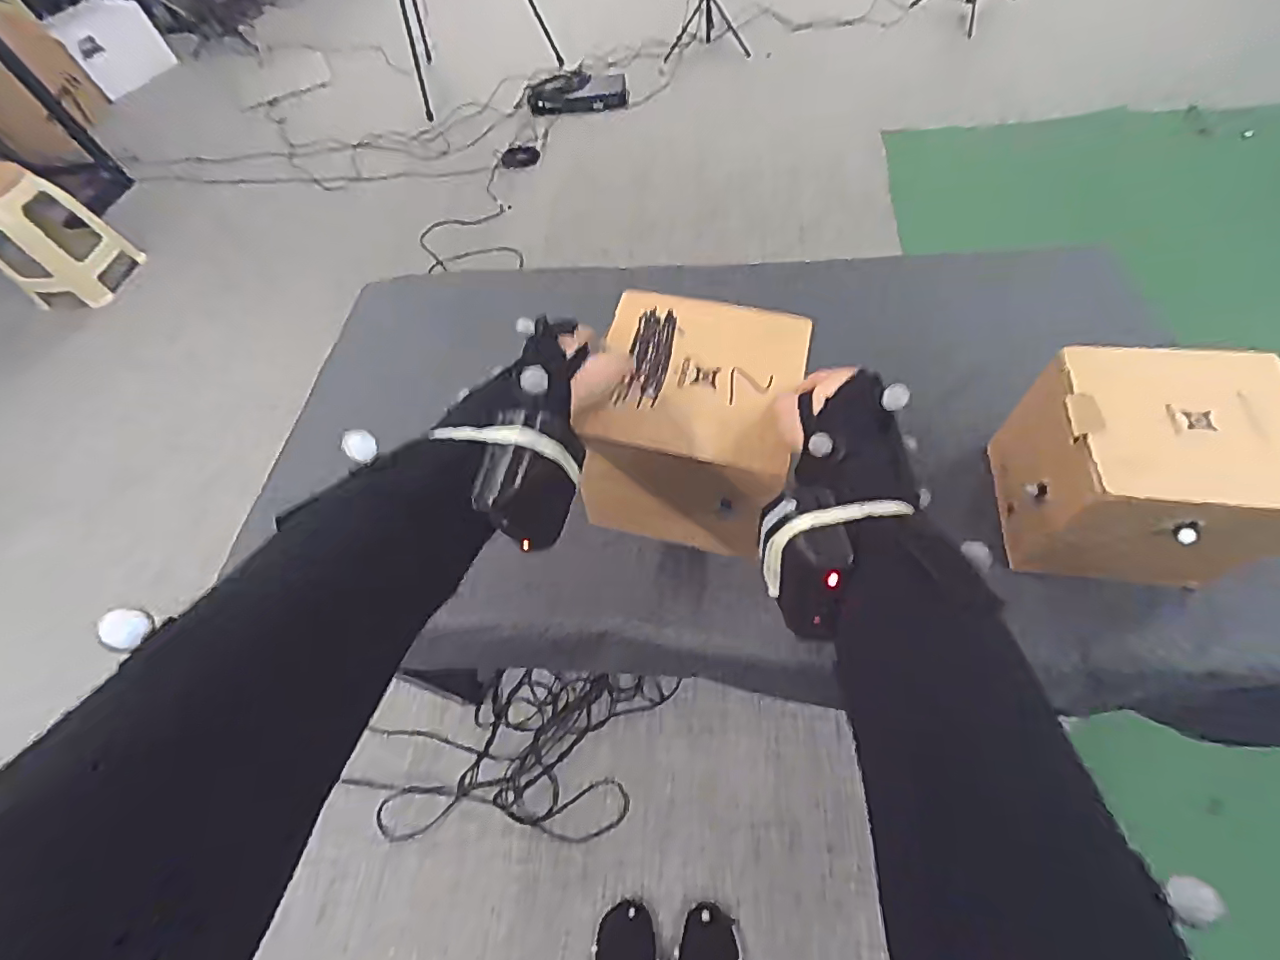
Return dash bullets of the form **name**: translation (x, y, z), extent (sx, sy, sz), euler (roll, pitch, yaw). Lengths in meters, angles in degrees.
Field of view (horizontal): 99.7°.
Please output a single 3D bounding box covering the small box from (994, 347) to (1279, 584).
- **small box**: translation (0.477, -0.009, 0.530), extent (0.179, 0.176, 0.168), euler (5, 61, 11)
